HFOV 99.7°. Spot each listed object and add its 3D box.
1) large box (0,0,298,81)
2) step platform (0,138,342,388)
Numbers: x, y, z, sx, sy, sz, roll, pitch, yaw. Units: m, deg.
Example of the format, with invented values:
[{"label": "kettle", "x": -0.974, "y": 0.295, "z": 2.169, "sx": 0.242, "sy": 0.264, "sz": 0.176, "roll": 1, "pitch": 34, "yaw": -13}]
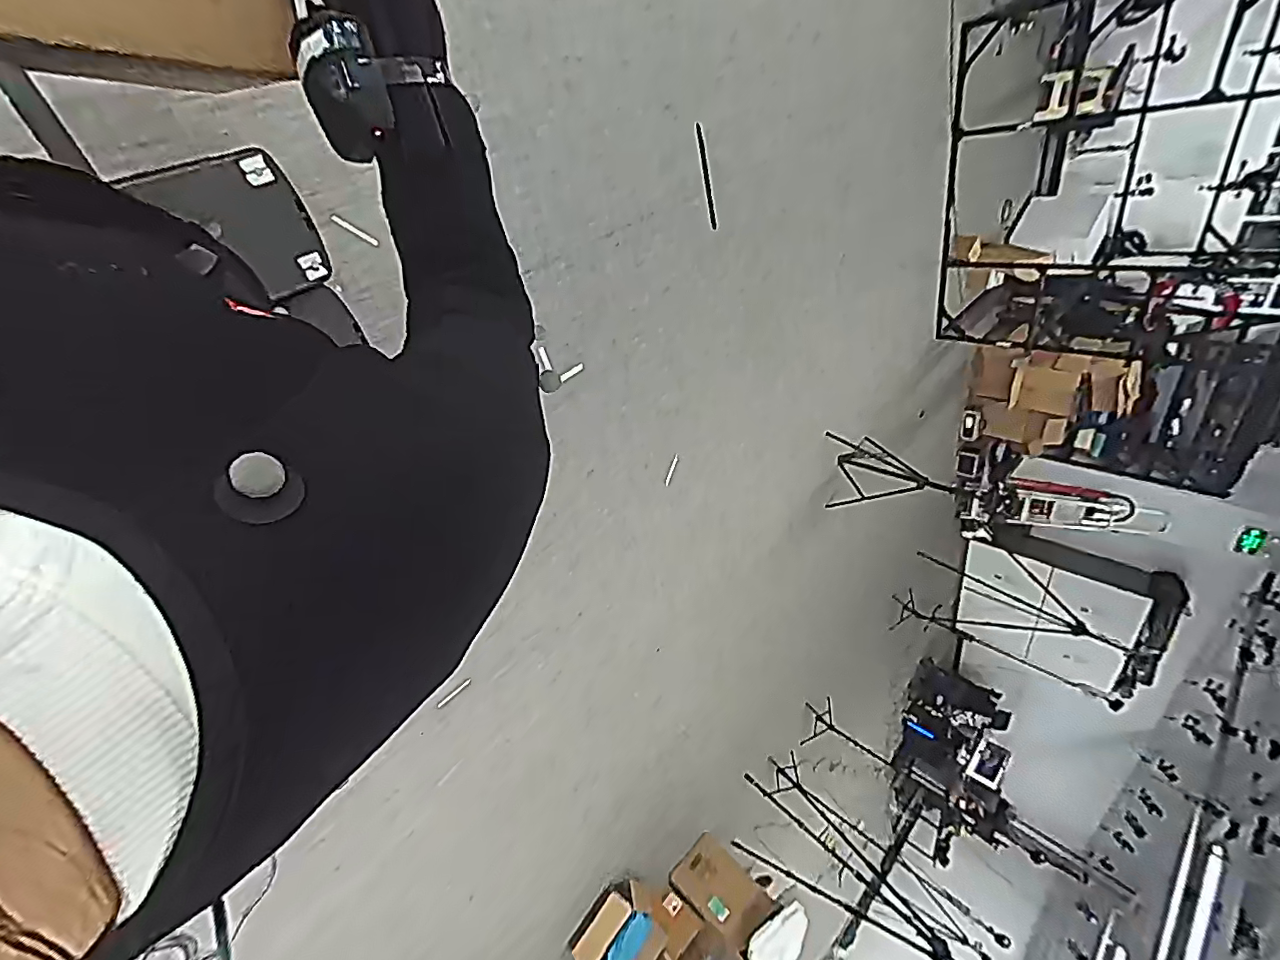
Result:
[{"label": "large box", "x": -0.456, "y": -0.405, "z": 0.250, "sx": 0.408, "sy": 0.320, "sz": 0.320, "roll": -20, "pitch": 130, "yaw": -37}, {"label": "step platform", "x": -0.999, "y": -0.460, "z": 1.105, "sx": 0.684, "sy": 0.204, "sz": 0.286, "roll": -39, "pitch": 131, "yaw": -28}]
